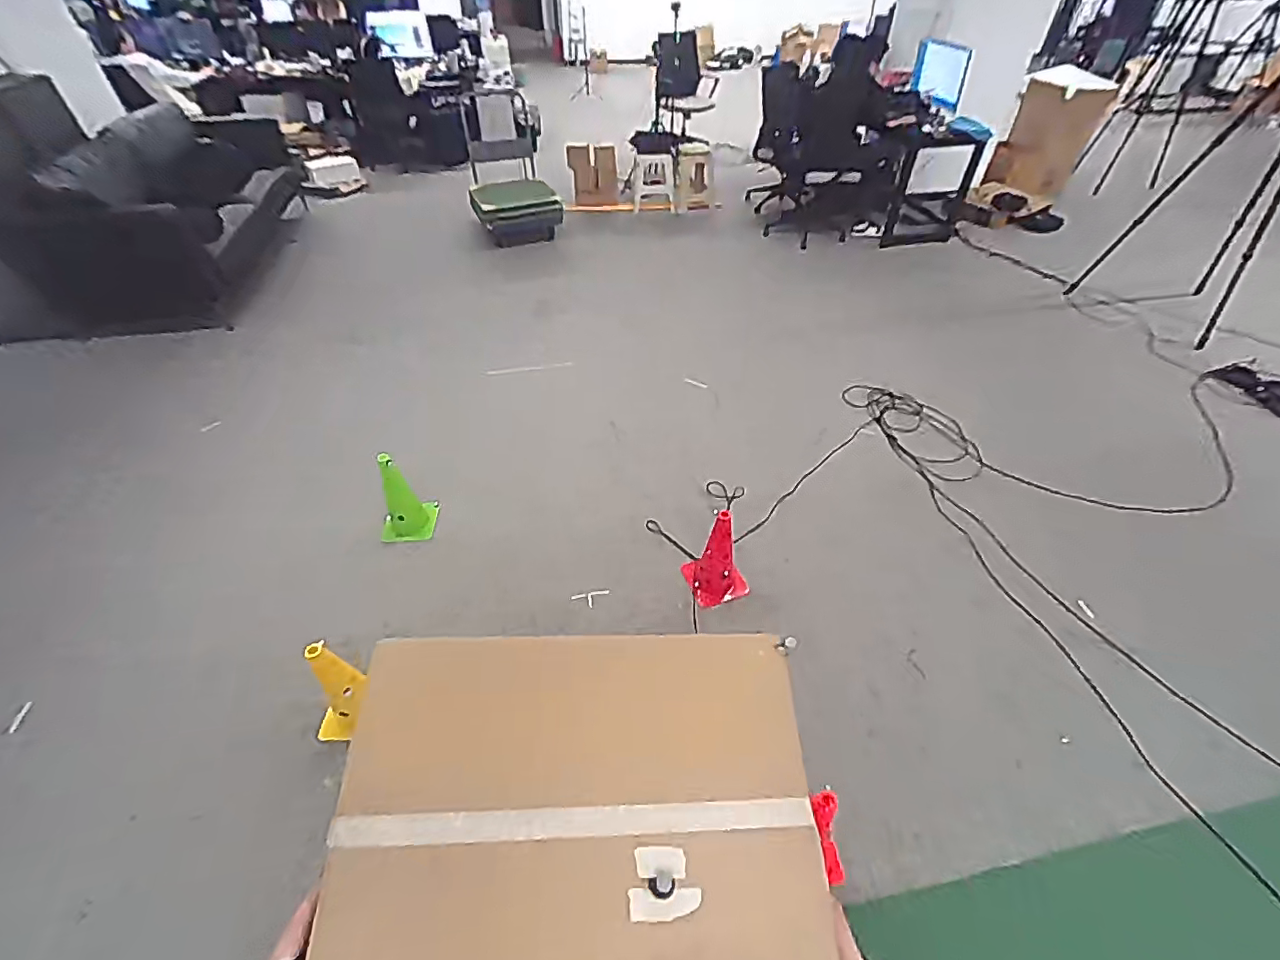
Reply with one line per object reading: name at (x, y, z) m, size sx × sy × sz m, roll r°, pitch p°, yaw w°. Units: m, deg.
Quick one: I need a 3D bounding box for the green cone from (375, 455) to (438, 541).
green cone at (-0.932, 0.045, 2.059) m, size 0.200 × 0.368 × 0.202 m, roll -3°, pitch 46°, yaw -3°

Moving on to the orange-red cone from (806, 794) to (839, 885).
orange-red cone at (0.399, 0.812, 1.279) m, size 0.199 × 0.360 × 0.198 m, roll -1°, pitch 45°, yaw -3°

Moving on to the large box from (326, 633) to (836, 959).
large box at (-0.059, 0.369, 0.597) m, size 0.408 × 0.320 × 0.320 m, roll 1°, pitch 59°, yaw -5°
